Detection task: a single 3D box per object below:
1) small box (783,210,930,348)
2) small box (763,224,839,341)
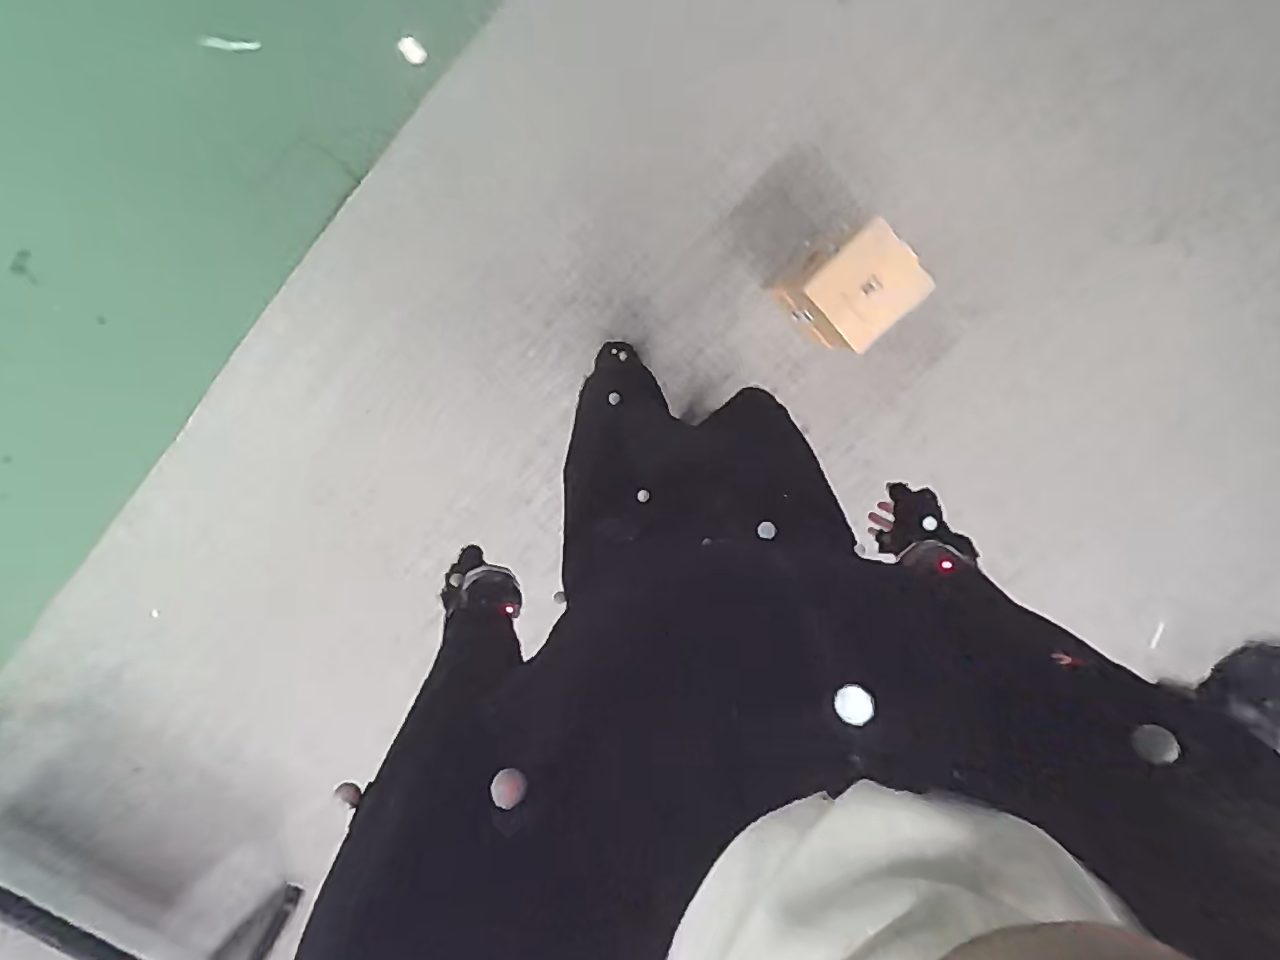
[{"bbox_3d":[0.403,-0.382,1.039,0.179,0.176,0.168,-42,102,15],"label":"small box"},{"bbox_3d":[0.399,-0.435,1.209,0.168,0.176,0.179,-42,104,14],"label":"small box"}]
